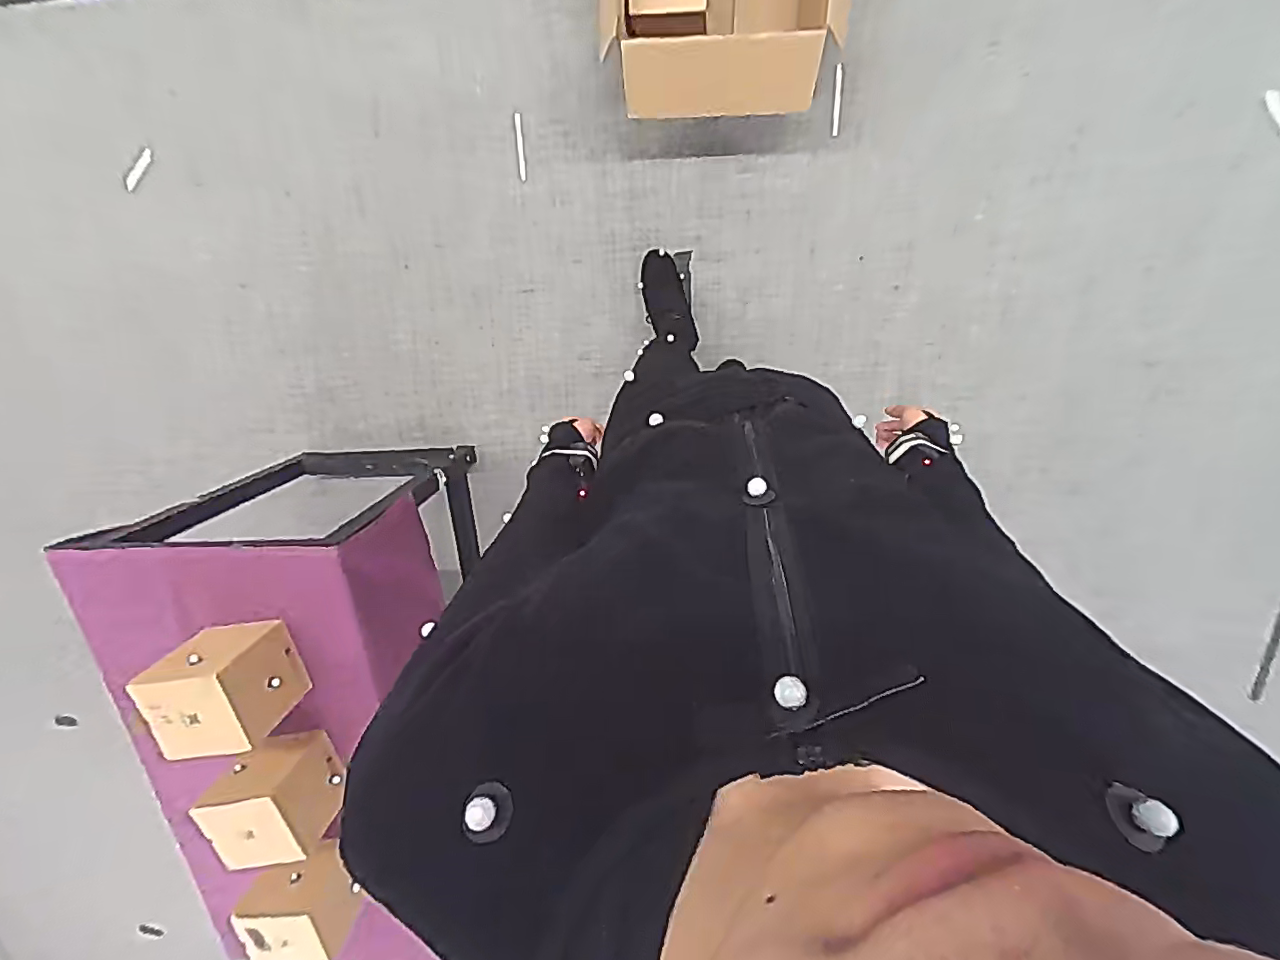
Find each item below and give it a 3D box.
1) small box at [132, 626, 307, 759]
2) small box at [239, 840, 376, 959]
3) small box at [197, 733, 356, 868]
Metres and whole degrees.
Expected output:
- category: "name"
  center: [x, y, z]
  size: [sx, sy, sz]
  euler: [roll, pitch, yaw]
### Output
- category: "small box"
  center: [-0.768, 0.391, 1.016]
  size: [0.179, 0.176, 0.168]
  euler: [-8, 108, 8]
- category: "small box"
  center: [-0.731, 0.939, 1.207]
  size: [0.179, 0.176, 0.168]
  euler: [-6, 109, 6]
- category: "small box"
  center: [-0.730, 0.650, 1.106]
  size: [0.179, 0.176, 0.168]
  euler: [-12, 109, 9]
